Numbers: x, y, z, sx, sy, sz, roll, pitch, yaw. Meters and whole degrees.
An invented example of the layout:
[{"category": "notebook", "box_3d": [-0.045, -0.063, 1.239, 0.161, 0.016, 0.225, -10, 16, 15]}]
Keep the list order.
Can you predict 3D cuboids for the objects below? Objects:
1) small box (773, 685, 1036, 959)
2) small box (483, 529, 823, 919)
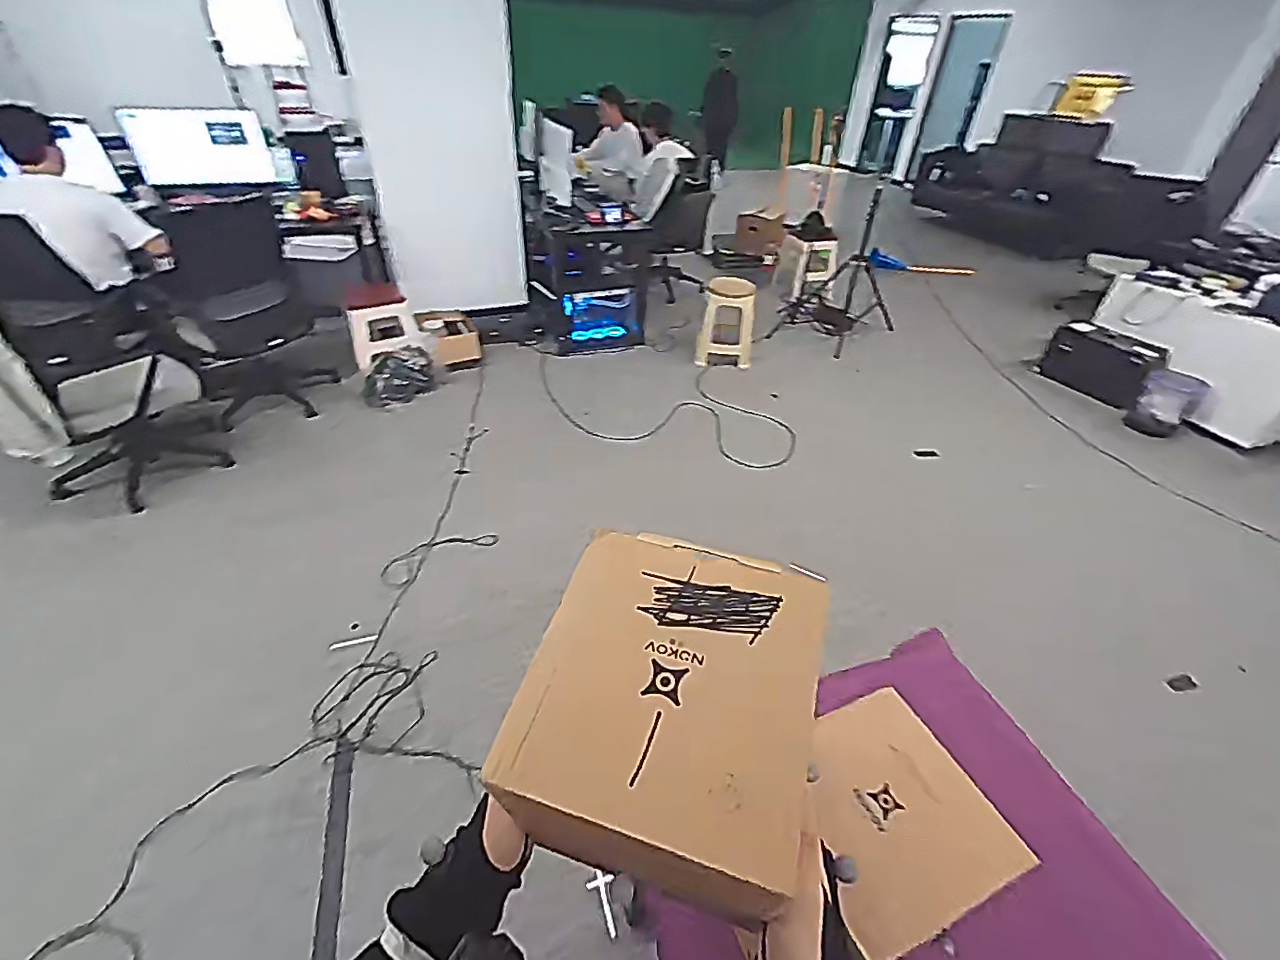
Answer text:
[{"category": "small box", "box_3d": [0.205, 0.333, 0.508, 0.179, 0.176, 0.168, -13, 43, -21]}, {"category": "small box", "box_3d": [0.021, 0.166, 0.377, 0.168, 0.176, 0.179, 11, 48, 14]}]
